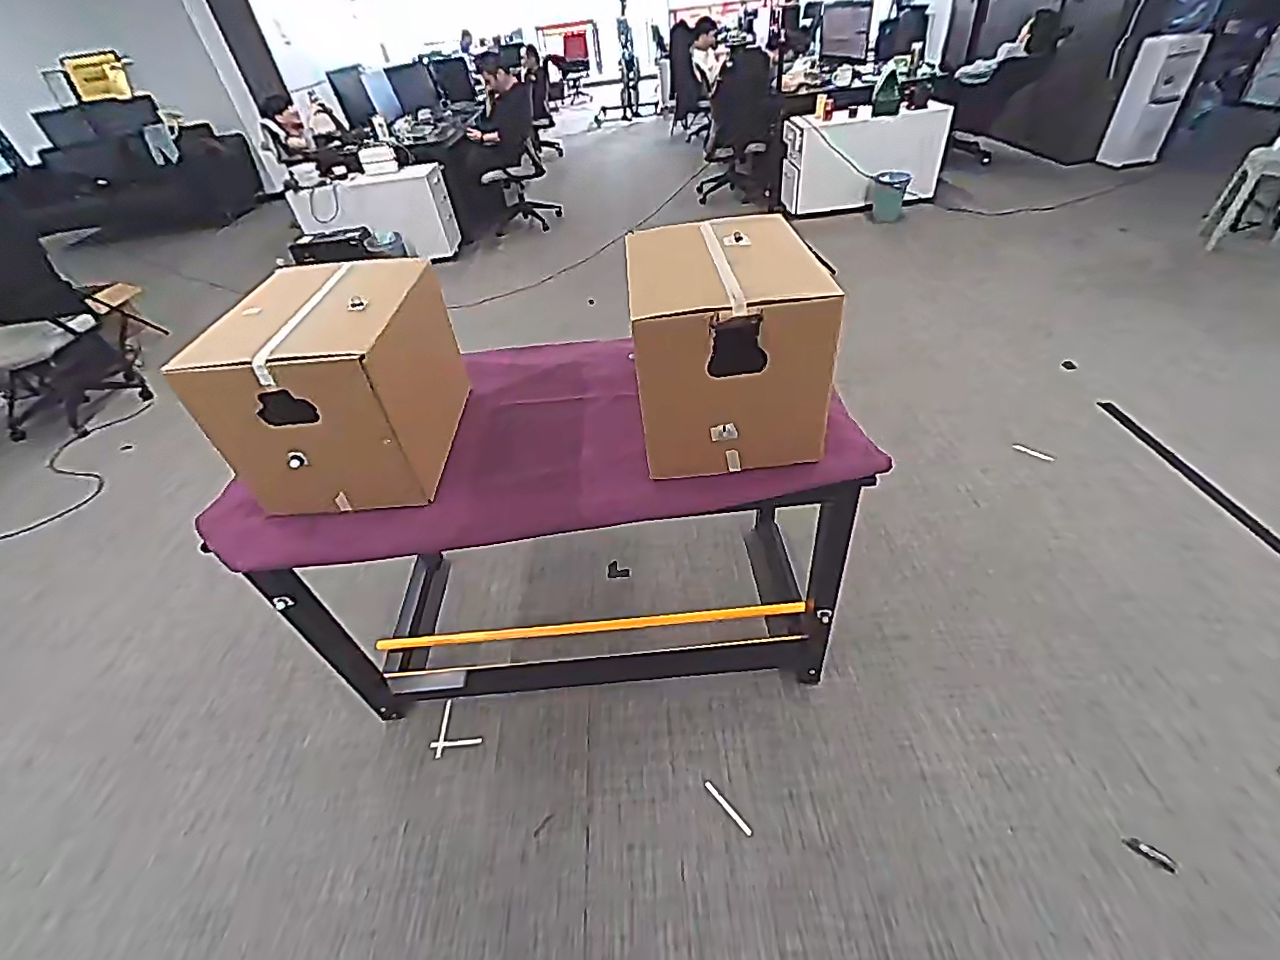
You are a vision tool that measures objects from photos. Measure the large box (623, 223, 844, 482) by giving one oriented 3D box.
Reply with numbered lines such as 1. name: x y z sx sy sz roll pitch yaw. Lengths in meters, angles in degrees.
1. large box: 0.146 -0.249 1.015 0.320 0.320 0.408 -6 40 1
